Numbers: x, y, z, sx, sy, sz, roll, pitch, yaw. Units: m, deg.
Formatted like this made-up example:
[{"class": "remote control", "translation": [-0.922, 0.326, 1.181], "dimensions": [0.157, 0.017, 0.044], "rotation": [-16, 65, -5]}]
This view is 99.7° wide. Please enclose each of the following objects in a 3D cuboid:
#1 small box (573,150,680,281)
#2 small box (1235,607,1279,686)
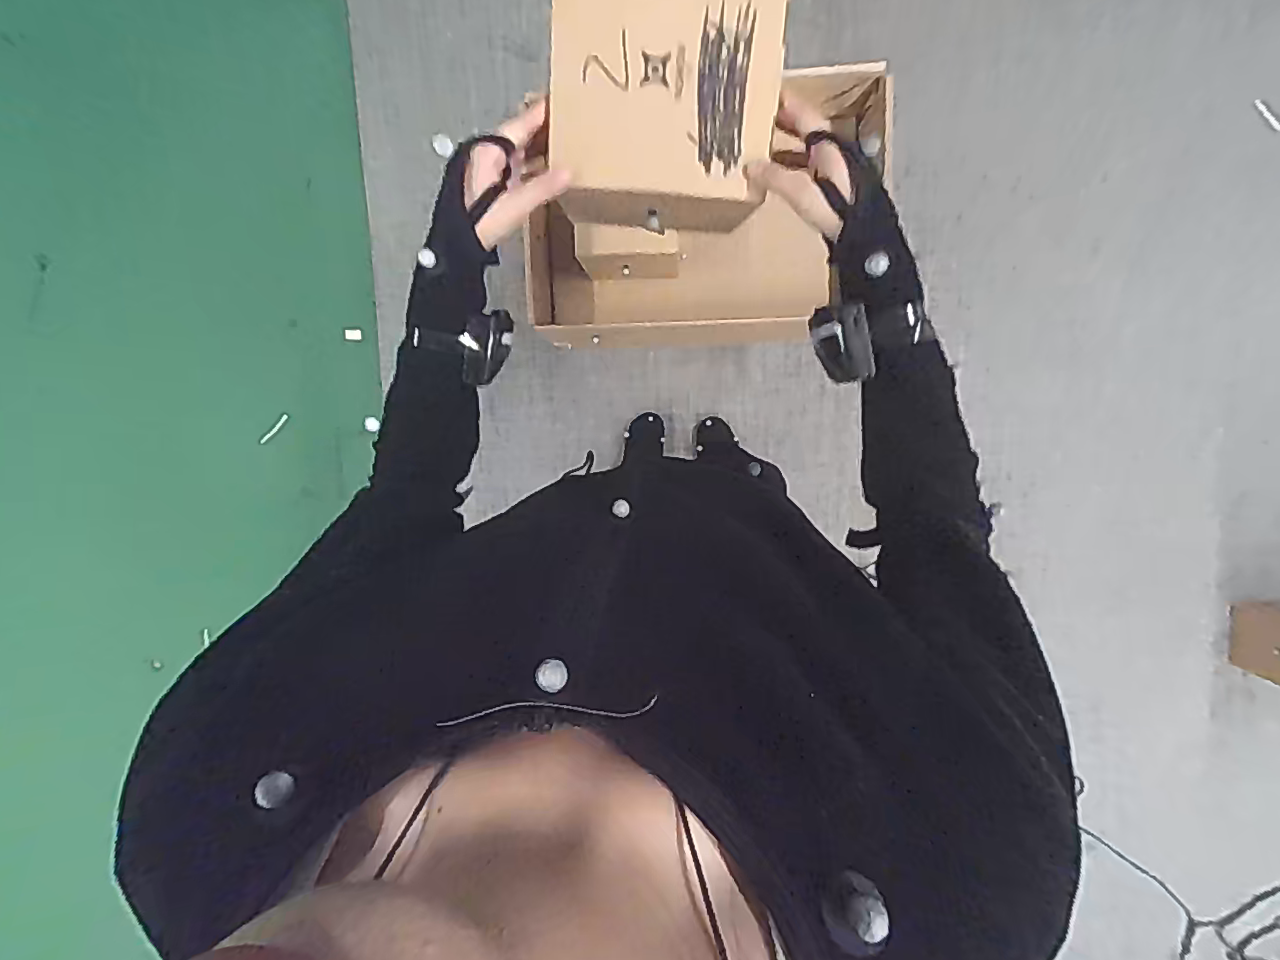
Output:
[{"class": "small box", "translation": [-0.018, -0.461, 0.964], "dimensions": [0.179, 0.176, 0.168], "rotation": [0, 96, 5]}, {"class": "small box", "translation": [1.635, 0.418, 1.331], "dimensions": [0.168, 0.176, 0.179], "rotation": [-3, 95, 6]}]
